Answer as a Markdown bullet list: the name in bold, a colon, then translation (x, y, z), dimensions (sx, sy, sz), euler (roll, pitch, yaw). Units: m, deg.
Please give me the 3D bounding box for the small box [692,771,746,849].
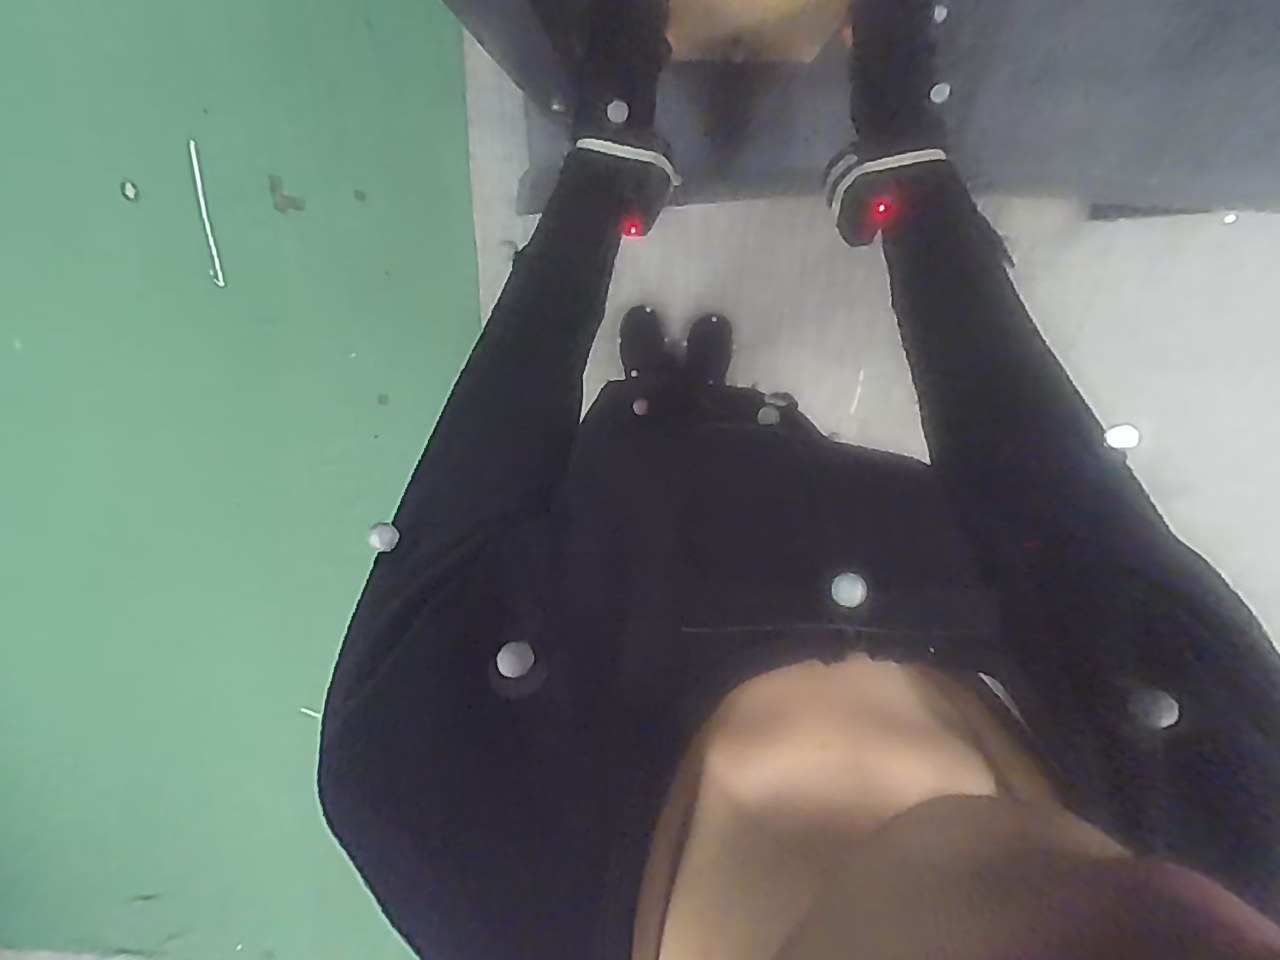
- **small box**: translation (0.274, 1.169, 1.920), dimensions (0.168, 0.176, 0.179), euler (1, 111, 0)
